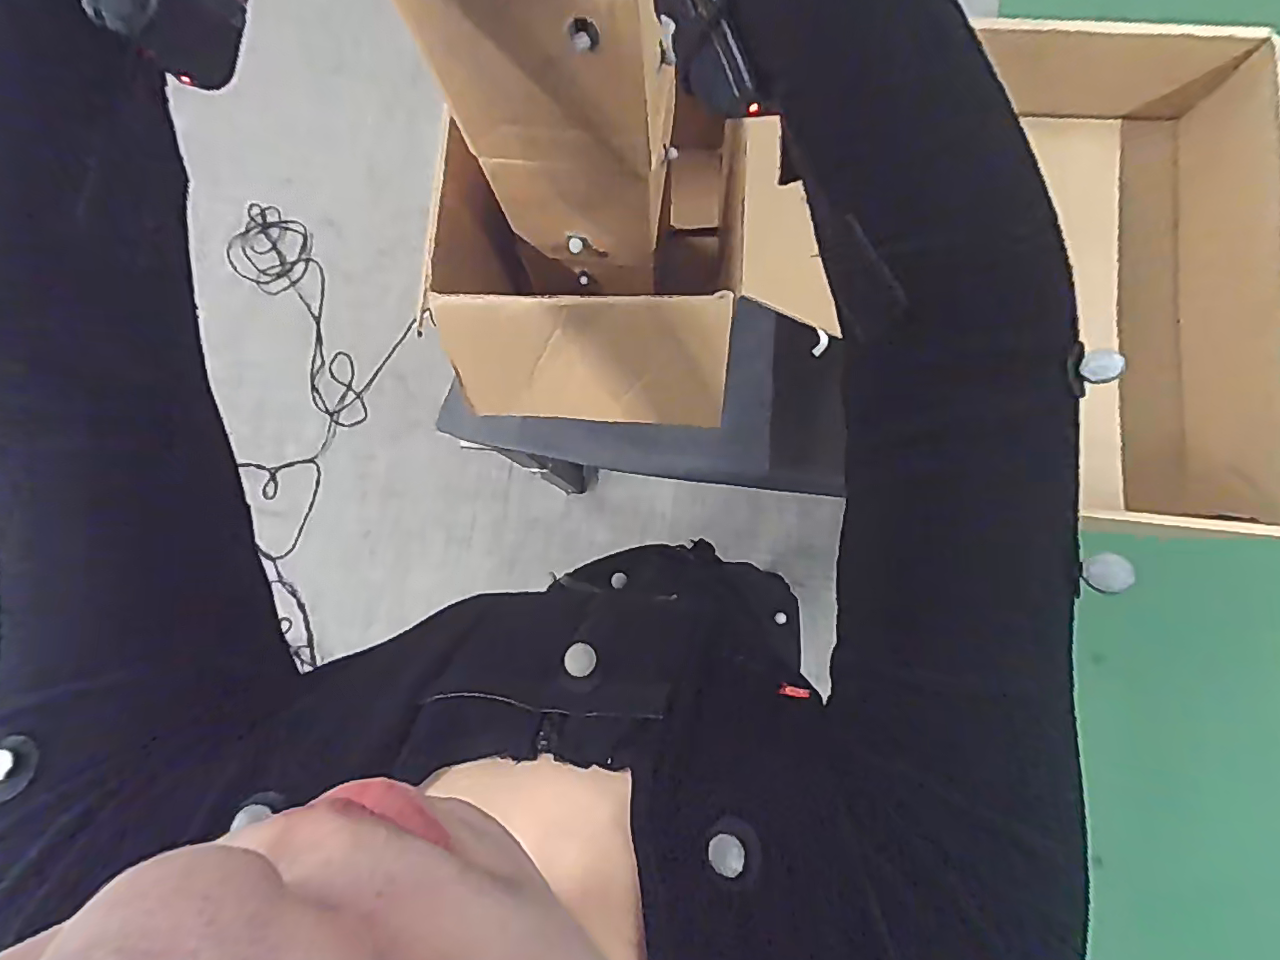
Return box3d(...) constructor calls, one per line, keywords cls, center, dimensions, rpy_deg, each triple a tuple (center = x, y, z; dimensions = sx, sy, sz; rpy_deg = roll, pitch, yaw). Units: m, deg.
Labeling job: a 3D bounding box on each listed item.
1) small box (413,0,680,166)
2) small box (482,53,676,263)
box3d(cls="small box", center=(-0.065, -0.386, 0.433), dimensions=(0.179, 0.176, 0.168), rpy_deg=(9, 84, 4))
box3d(cls="small box", center=(-0.054, -0.369, 0.594), dimensions=(0.168, 0.176, 0.179), rpy_deg=(8, 85, 4))
